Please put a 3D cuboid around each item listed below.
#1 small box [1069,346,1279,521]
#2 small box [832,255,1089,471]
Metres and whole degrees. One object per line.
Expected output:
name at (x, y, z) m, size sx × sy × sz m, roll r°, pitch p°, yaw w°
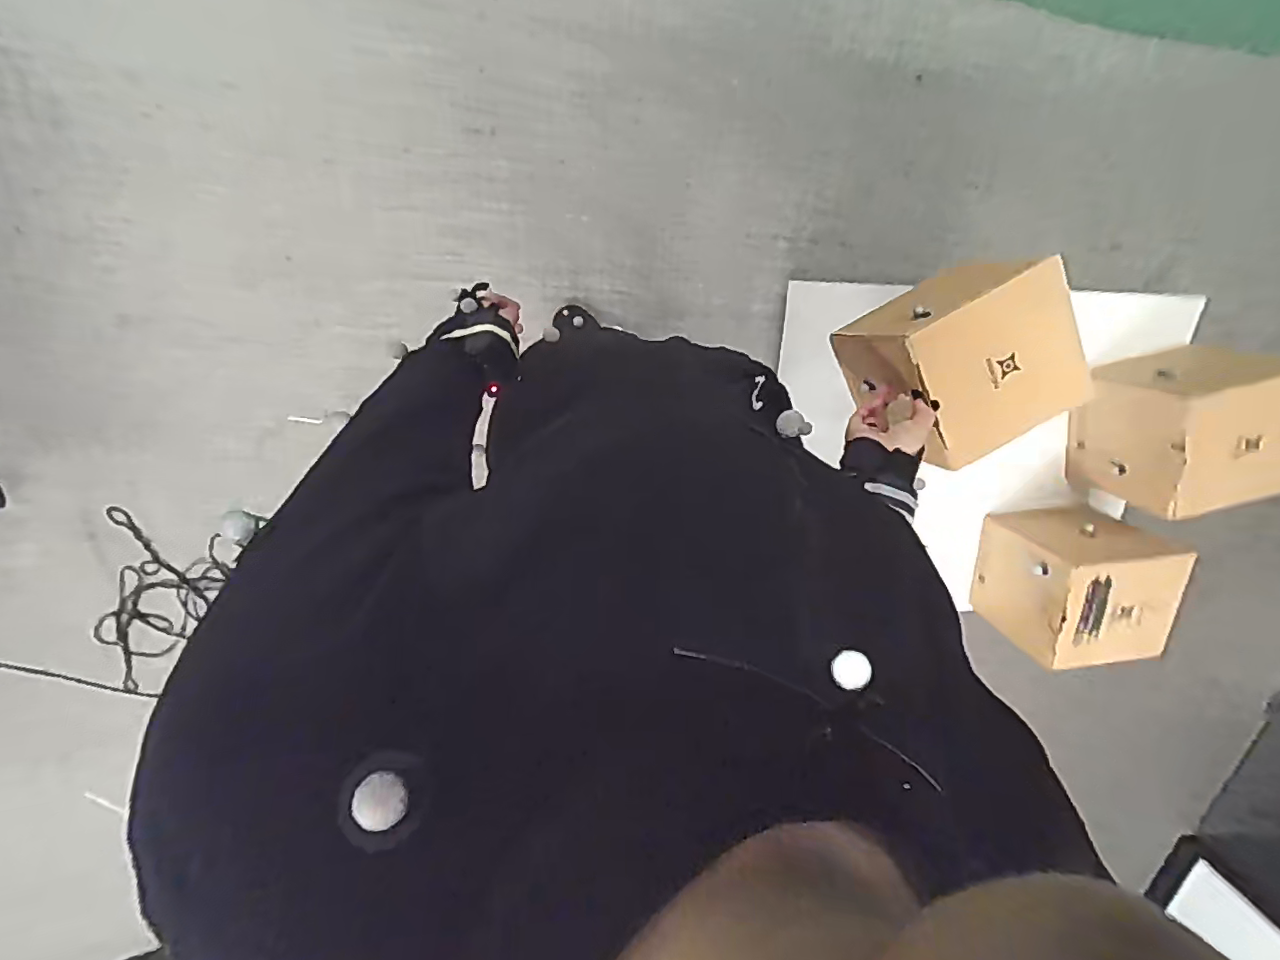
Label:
small box at (0.726, -0.071, 0.726) m, size 0.179 × 0.176 × 0.168 m, roll -16°, pitch 113°, yaw -1°
small box at (0.363, -0.140, 0.636) m, size 0.179 × 0.176 × 0.168 m, roll -30°, pitch 108°, yaw 1°
